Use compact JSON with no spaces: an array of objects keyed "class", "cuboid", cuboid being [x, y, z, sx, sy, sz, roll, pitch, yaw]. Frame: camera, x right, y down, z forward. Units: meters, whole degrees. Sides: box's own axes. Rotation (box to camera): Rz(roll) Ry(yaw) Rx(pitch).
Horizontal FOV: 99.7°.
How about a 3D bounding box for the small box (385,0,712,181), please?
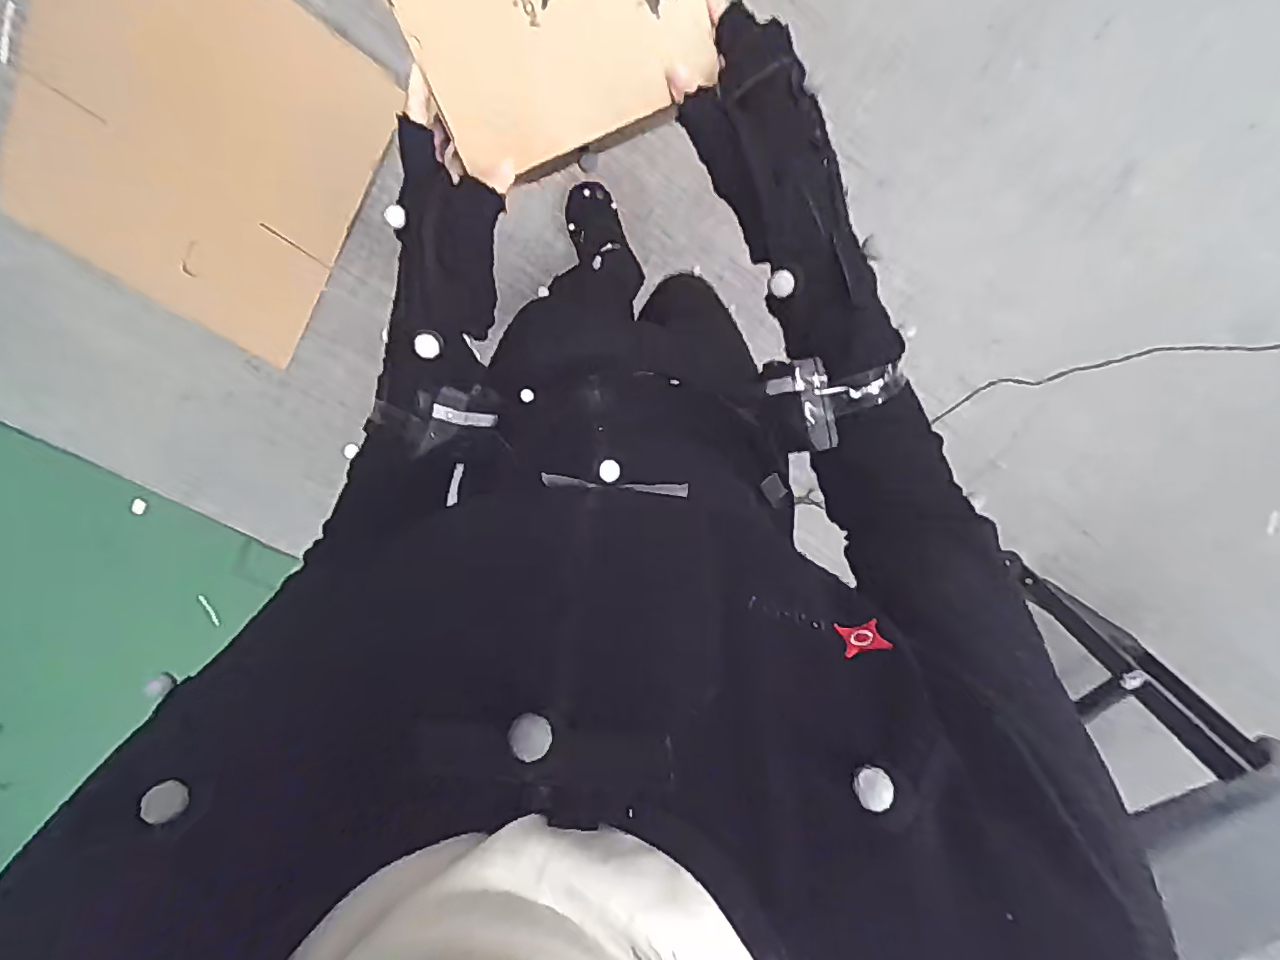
[{"class":"small box","cuboid":[-0.059,-0.333,0.383,0.179,0.176,0.168,-20,114,13]}]
